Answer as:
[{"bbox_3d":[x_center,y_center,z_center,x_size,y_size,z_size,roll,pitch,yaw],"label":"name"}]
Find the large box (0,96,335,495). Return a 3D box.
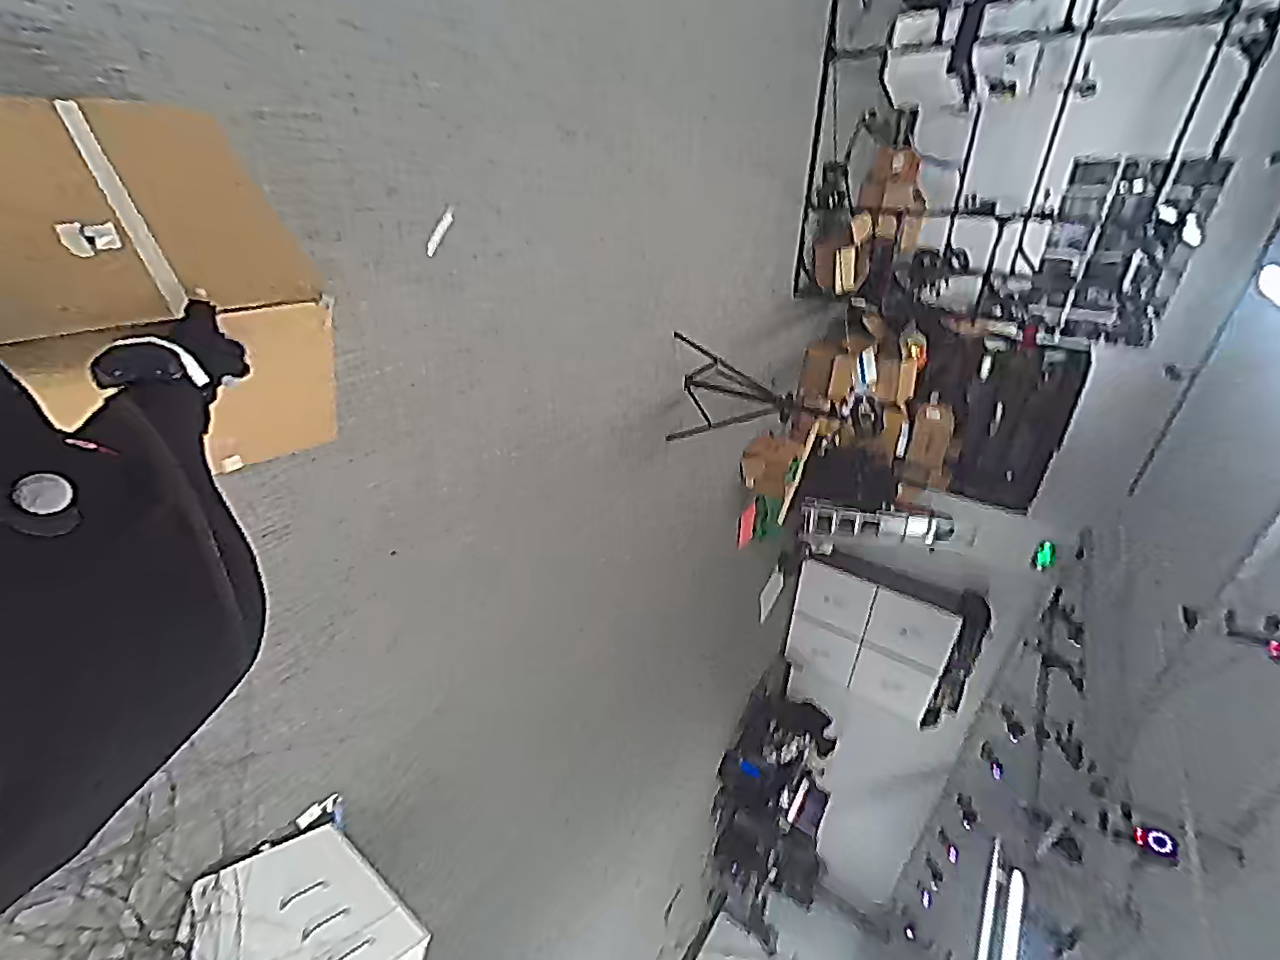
[{"bbox_3d":[-0.692,-0.259,0.769,0.320,0.408,0.320,-30,166,-36],"label":"large box"}]
